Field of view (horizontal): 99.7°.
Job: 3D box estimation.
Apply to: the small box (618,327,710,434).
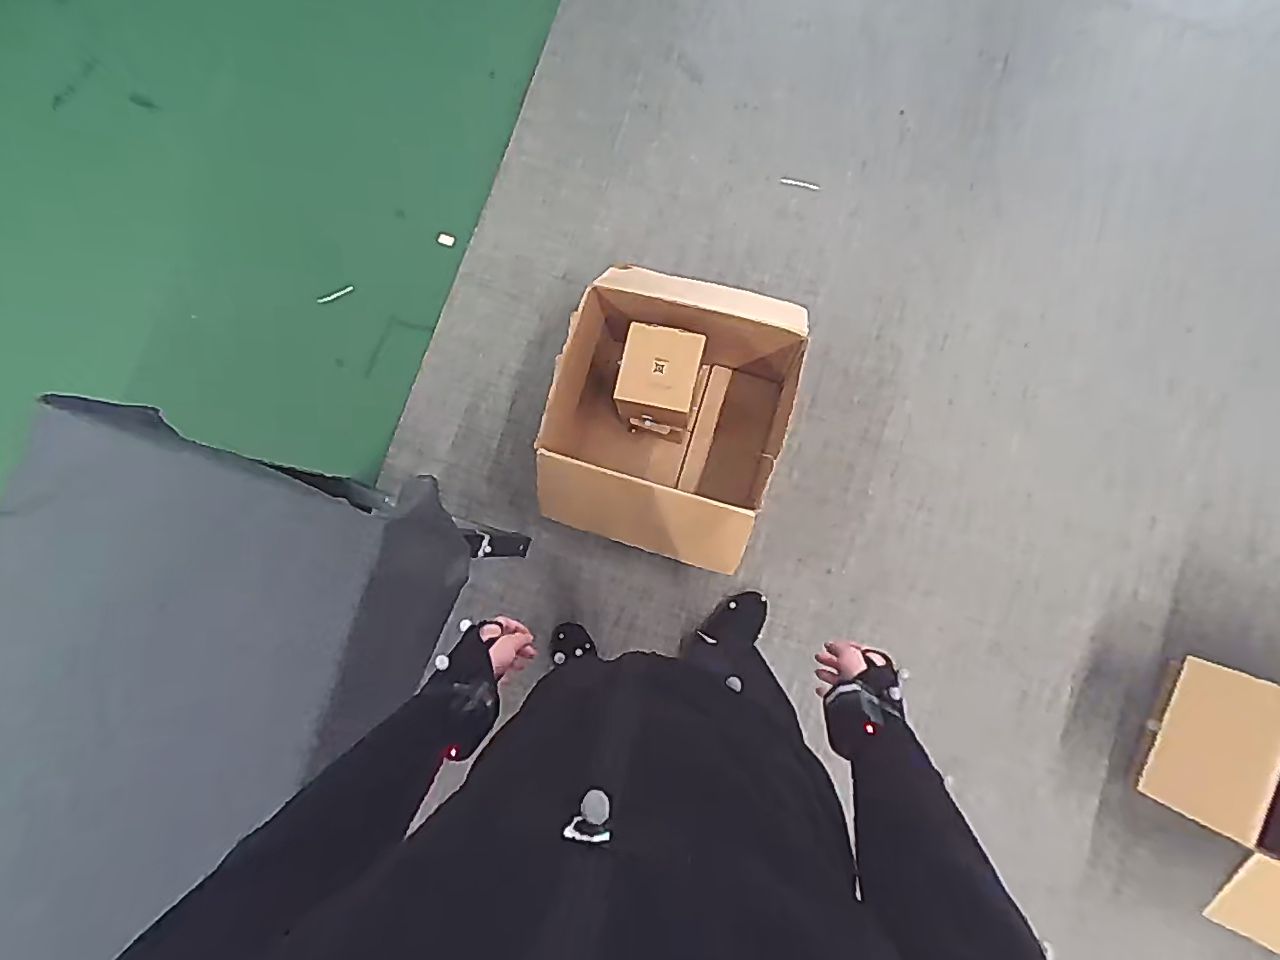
[{"bbox_3d":[0.055,-0.217,1.217,0.168,0.176,0.179,12,84,5],"label":"small box"}]
